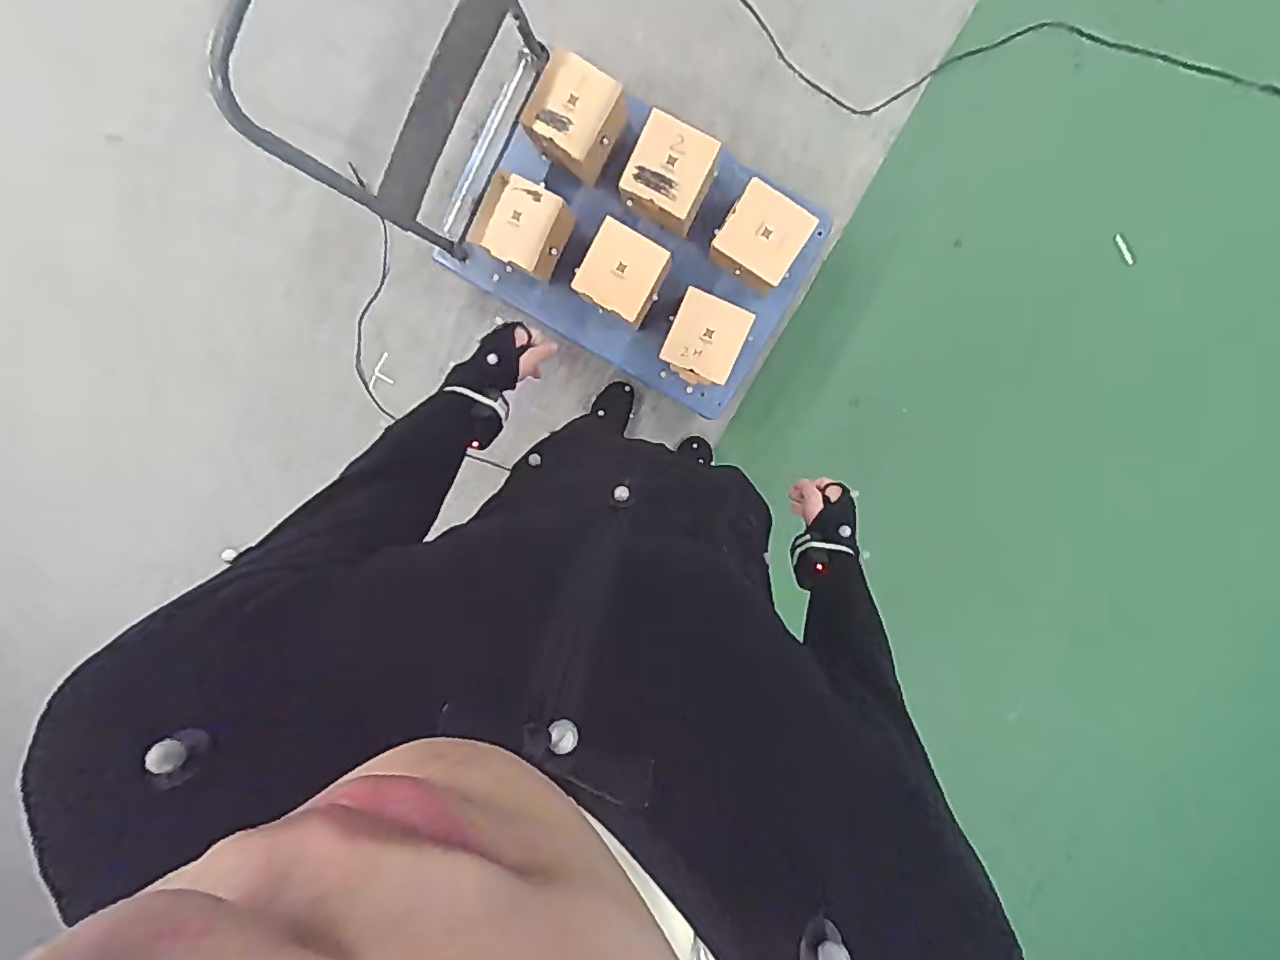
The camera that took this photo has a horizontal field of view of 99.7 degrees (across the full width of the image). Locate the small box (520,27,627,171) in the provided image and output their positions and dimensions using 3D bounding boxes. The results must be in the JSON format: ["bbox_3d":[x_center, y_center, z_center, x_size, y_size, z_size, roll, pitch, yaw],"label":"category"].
[{"bbox_3d":[-0.139,-0.840,1.217,0.168,0.176,0.179,32,101,-4],"label":"small box"}]

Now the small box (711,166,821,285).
[{"bbox_3d":[0.279,-0.572,1.246,0.179,0.176,0.168,33,102,-3],"label":"small box"}]

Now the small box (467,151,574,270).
[{"bbox_3d":[-0.271,-0.618,1.268,0.168,0.176,0.179,28,102,-2],"label":"small box"}]

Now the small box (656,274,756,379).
[{"bbox_3d":[0.152,-0.359,1.291,0.168,0.176,0.179,31,102,0],"label":"small box"}]
